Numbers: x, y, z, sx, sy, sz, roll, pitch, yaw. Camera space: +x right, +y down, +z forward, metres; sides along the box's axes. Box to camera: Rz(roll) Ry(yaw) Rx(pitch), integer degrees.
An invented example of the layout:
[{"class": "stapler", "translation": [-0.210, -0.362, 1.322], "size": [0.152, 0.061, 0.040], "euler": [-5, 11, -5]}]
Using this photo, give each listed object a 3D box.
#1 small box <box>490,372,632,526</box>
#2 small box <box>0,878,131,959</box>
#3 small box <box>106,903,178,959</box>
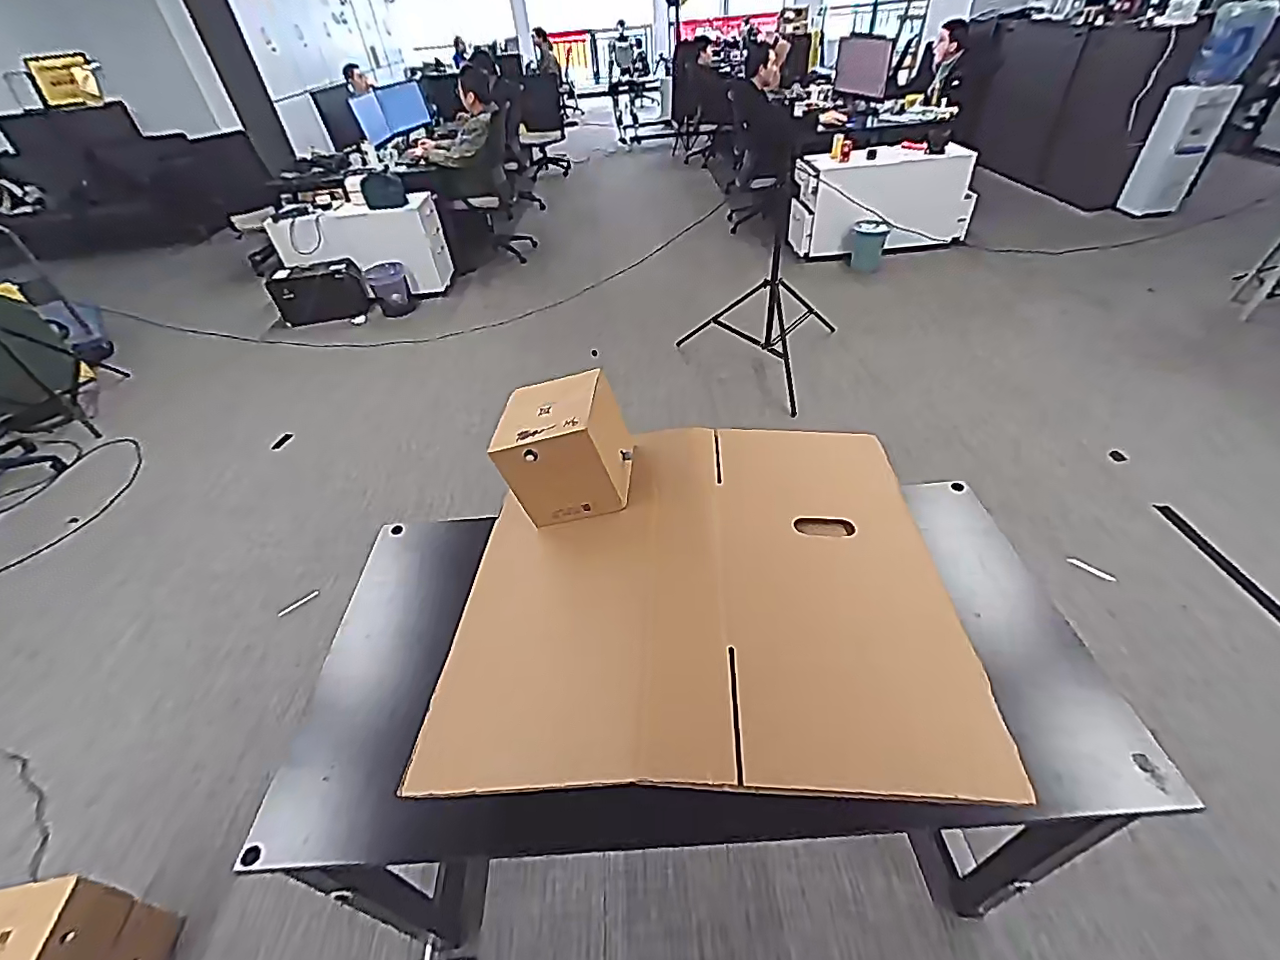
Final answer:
[{"class": "small box", "translation": [-0.118, -0.050, 0.901], "size": [0.168, 0.176, 0.179], "euler": [-13, 38, 15]}, {"class": "small box", "translation": [-1.146, 0.899, 1.032], "size": [0.168, 0.176, 0.179], "euler": [-9, 40, -5]}, {"class": "small box", "translation": [-1.132, 1.024, 1.135], "size": [0.168, 0.176, 0.179], "euler": [-7, 42, -2]}]
